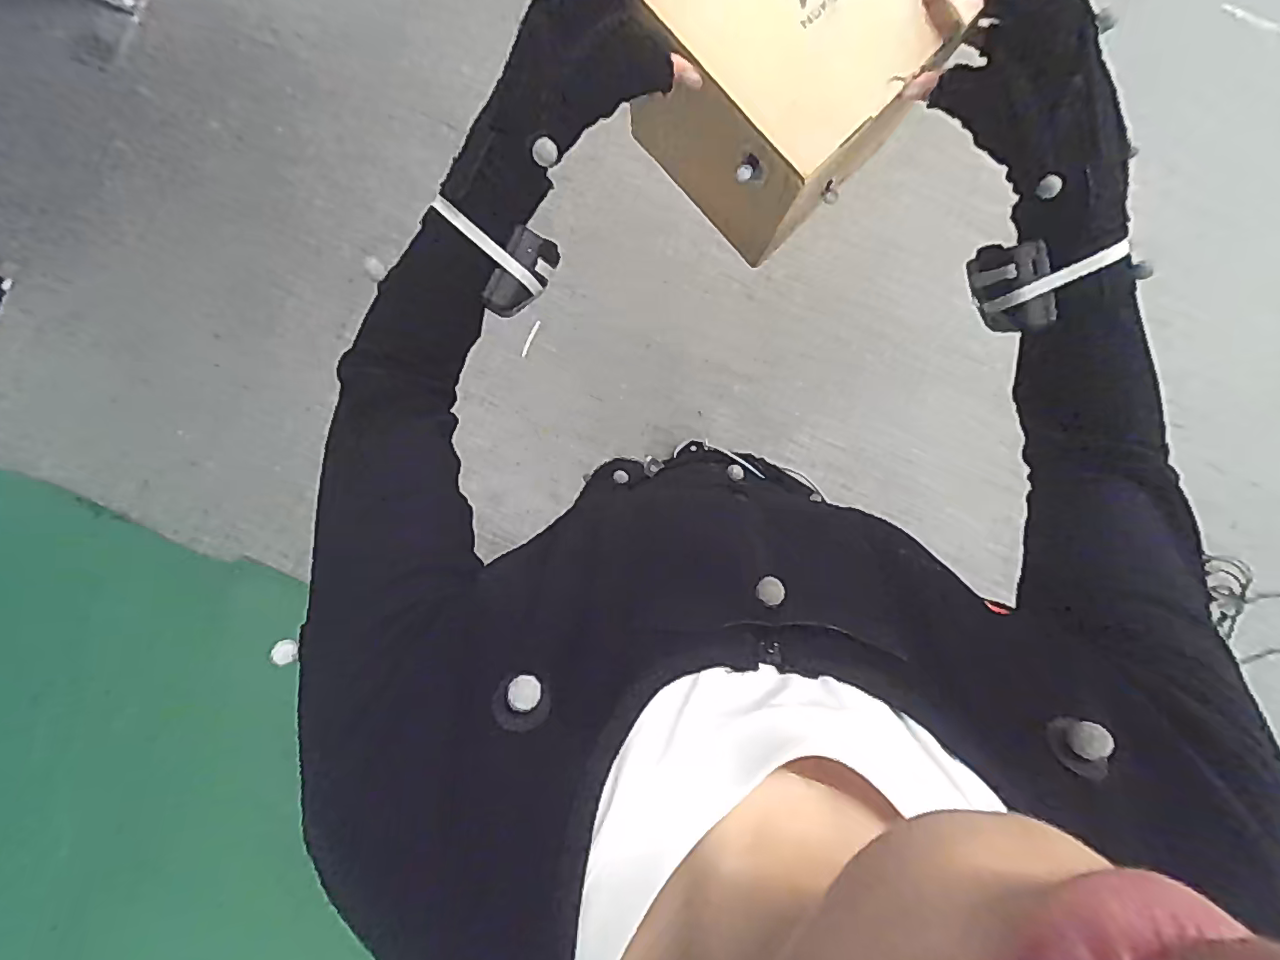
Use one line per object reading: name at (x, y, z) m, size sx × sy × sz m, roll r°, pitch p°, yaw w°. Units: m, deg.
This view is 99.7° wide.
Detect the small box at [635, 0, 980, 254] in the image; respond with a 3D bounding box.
small box at (0.107, -0.320, 0.434) m, size 0.168 × 0.176 × 0.179 m, roll -43°, pitch 93°, yaw 2°
